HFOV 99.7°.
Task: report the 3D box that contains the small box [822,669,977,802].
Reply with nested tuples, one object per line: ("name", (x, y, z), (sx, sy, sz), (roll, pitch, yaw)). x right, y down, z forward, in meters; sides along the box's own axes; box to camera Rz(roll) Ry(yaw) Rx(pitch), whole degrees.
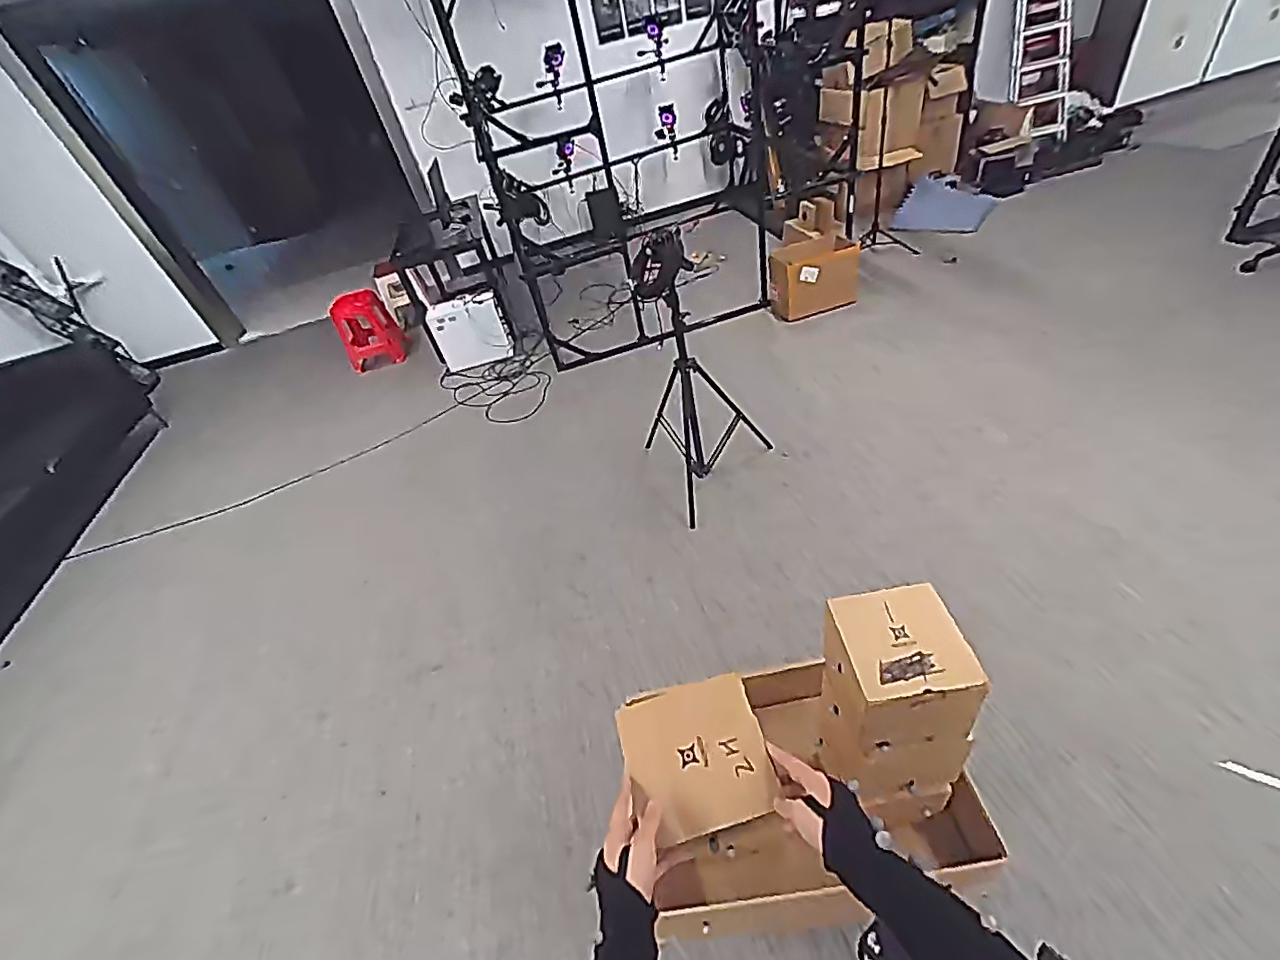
("small box", (0.426, 0.421, 0.923), (0.179, 0.176, 0.168), (-13, 40, 1))

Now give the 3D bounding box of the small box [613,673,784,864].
("small box", (0.079, 0.387, 0.717), (0.179, 0.176, 0.168), (-17, 50, -1))

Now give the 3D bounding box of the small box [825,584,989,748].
("small box", (0.392, 0.290, 0.828), (0.168, 0.176, 0.179), (-11, 40, 5))

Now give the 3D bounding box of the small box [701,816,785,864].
("small box", (0.175, 0.612, 1.039), (0.168, 0.176, 0.179), (-13, 40, 2))
